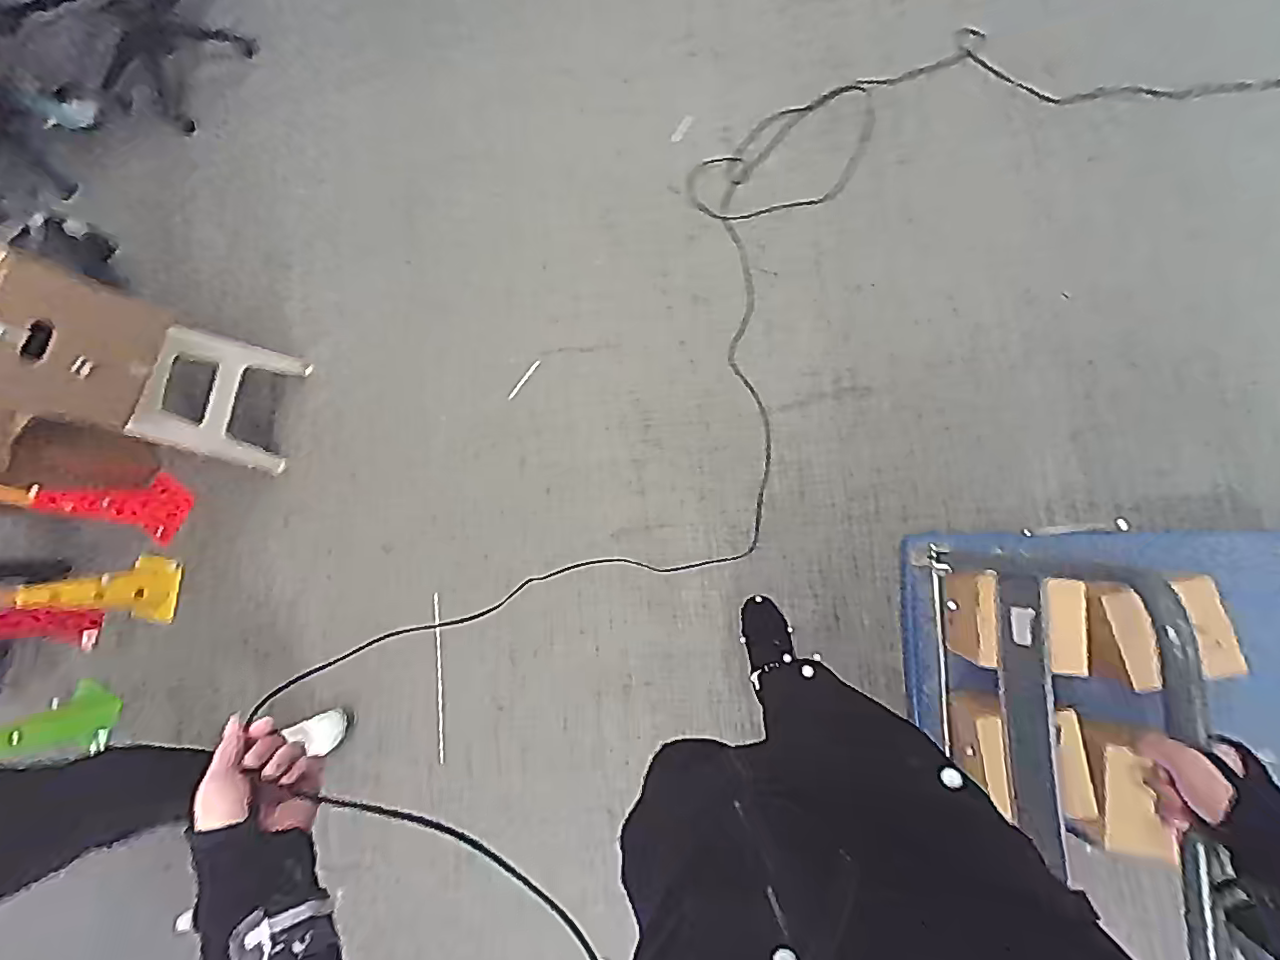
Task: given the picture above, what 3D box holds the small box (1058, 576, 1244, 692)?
[{"bbox_3d":[0.924,0.278,1.004,0.179,0.176,0.168,-15,81,10],"label":"small box"}]
